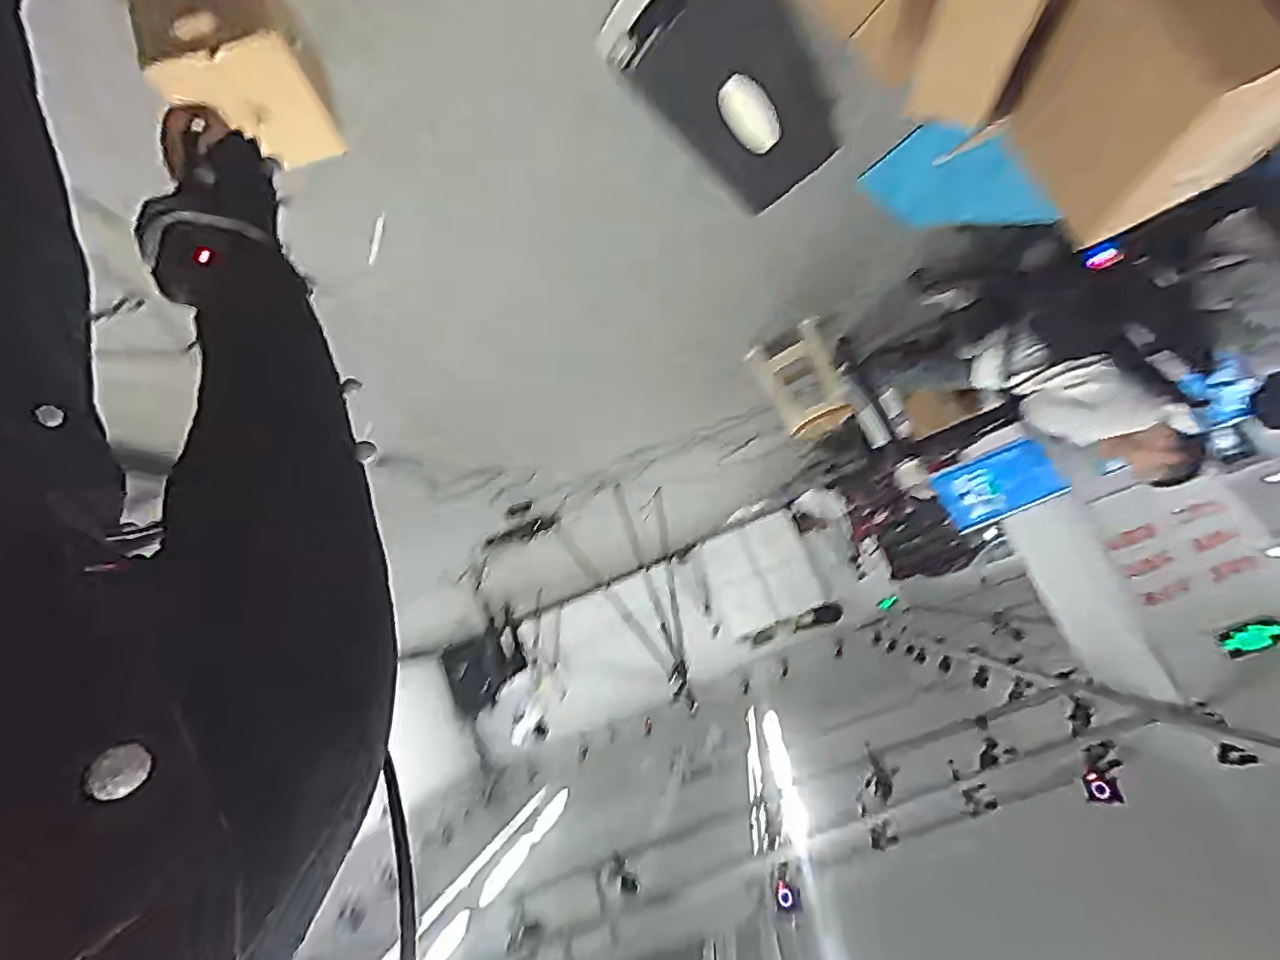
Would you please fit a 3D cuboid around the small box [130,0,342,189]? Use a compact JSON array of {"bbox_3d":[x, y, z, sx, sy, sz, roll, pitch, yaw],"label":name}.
[{"bbox_3d":[-0.561,-0.564,0.767,0.168,0.176,0.179,-21,165,-6],"label":"small box"}]
